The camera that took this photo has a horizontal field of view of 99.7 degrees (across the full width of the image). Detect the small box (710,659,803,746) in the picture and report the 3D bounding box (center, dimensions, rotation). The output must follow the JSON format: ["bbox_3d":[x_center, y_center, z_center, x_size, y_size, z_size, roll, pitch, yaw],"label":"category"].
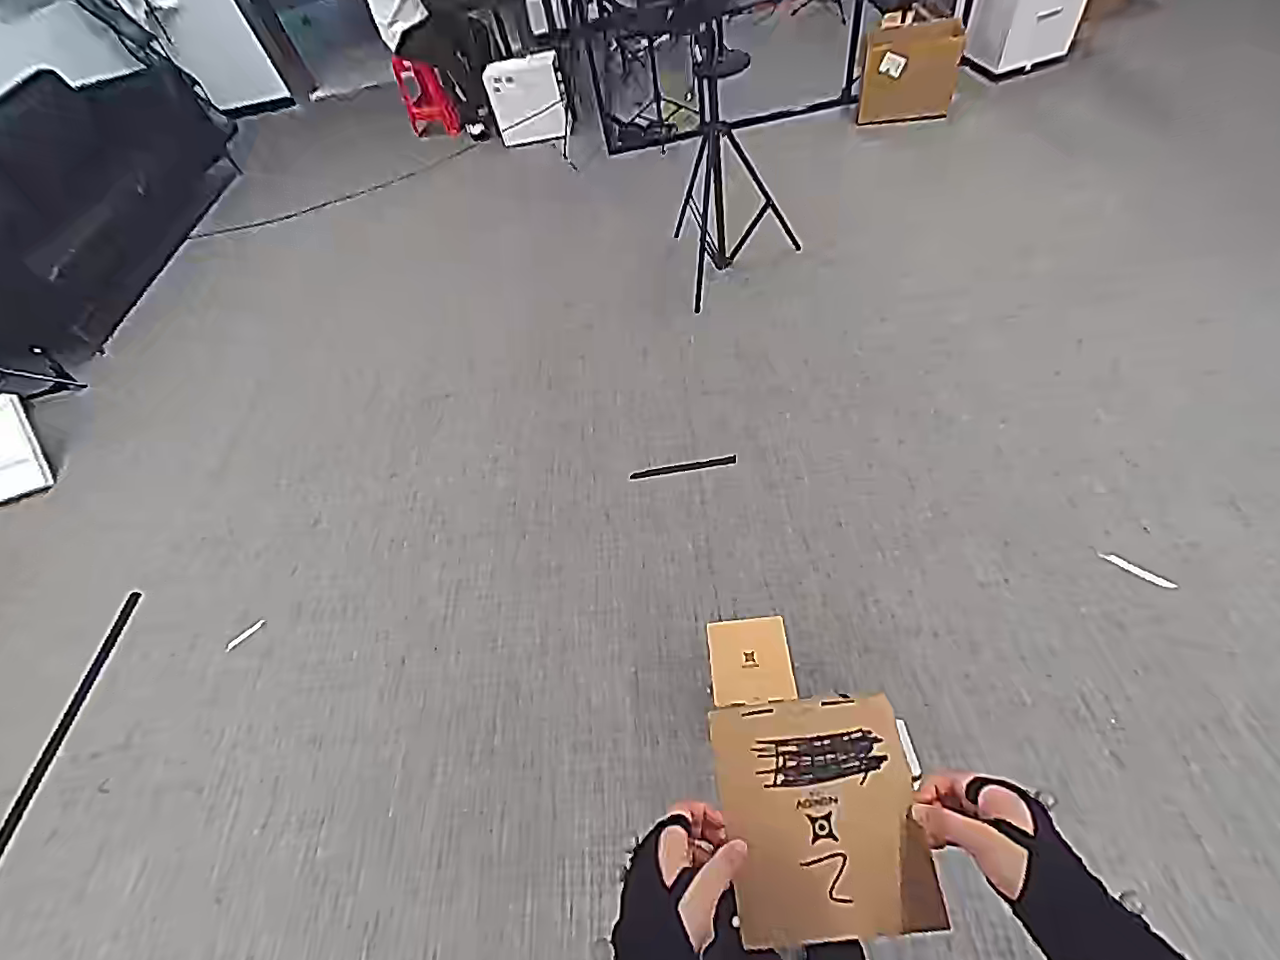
[{"bbox_3d":[0.276,0.516,1.305,0.168,0.176,0.179,-18,53,0],"label":"small box"}]

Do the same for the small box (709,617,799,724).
[{"bbox_3d":[0.242,0.418,1.180,0.168,0.176,0.179,-8,54,7],"label":"small box"}]
